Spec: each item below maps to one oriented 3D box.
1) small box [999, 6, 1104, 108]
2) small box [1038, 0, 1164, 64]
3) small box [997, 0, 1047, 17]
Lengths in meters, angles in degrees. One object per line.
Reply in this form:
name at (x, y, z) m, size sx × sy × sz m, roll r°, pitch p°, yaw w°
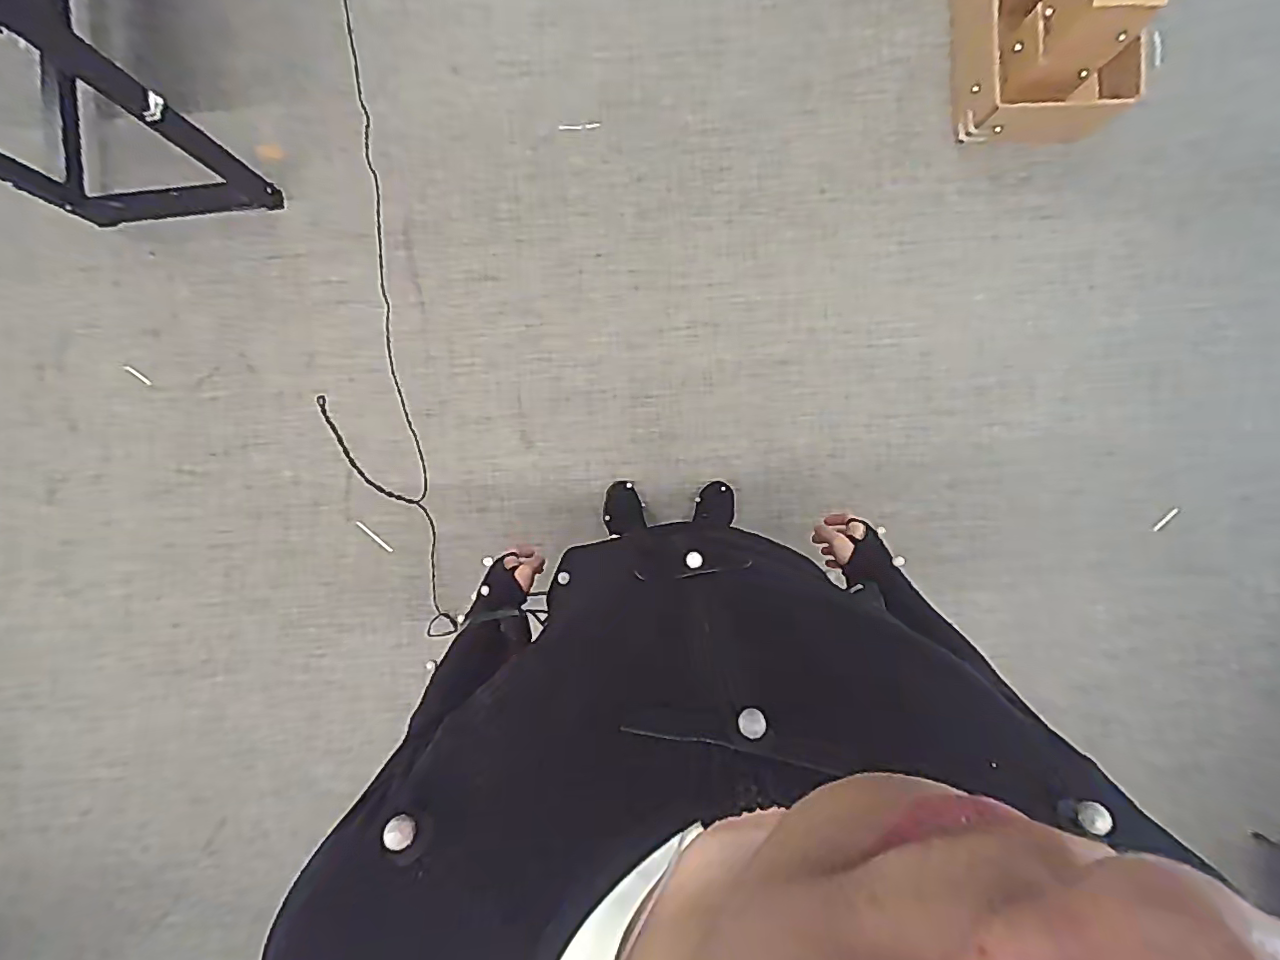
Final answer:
small box at (1.129, -1.167, 1.499) m, size 0.179 × 0.176 × 0.168 m, roll -3°, pitch 90°, yaw 0°
small box at (1.131, -1.170, 1.335) m, size 0.179 × 0.176 × 0.168 m, roll 0°, pitch 88°, yaw 1°
small box at (1.121, -1.429, 1.494) m, size 0.179 × 0.176 × 0.168 m, roll -3°, pitch 91°, yaw 1°
